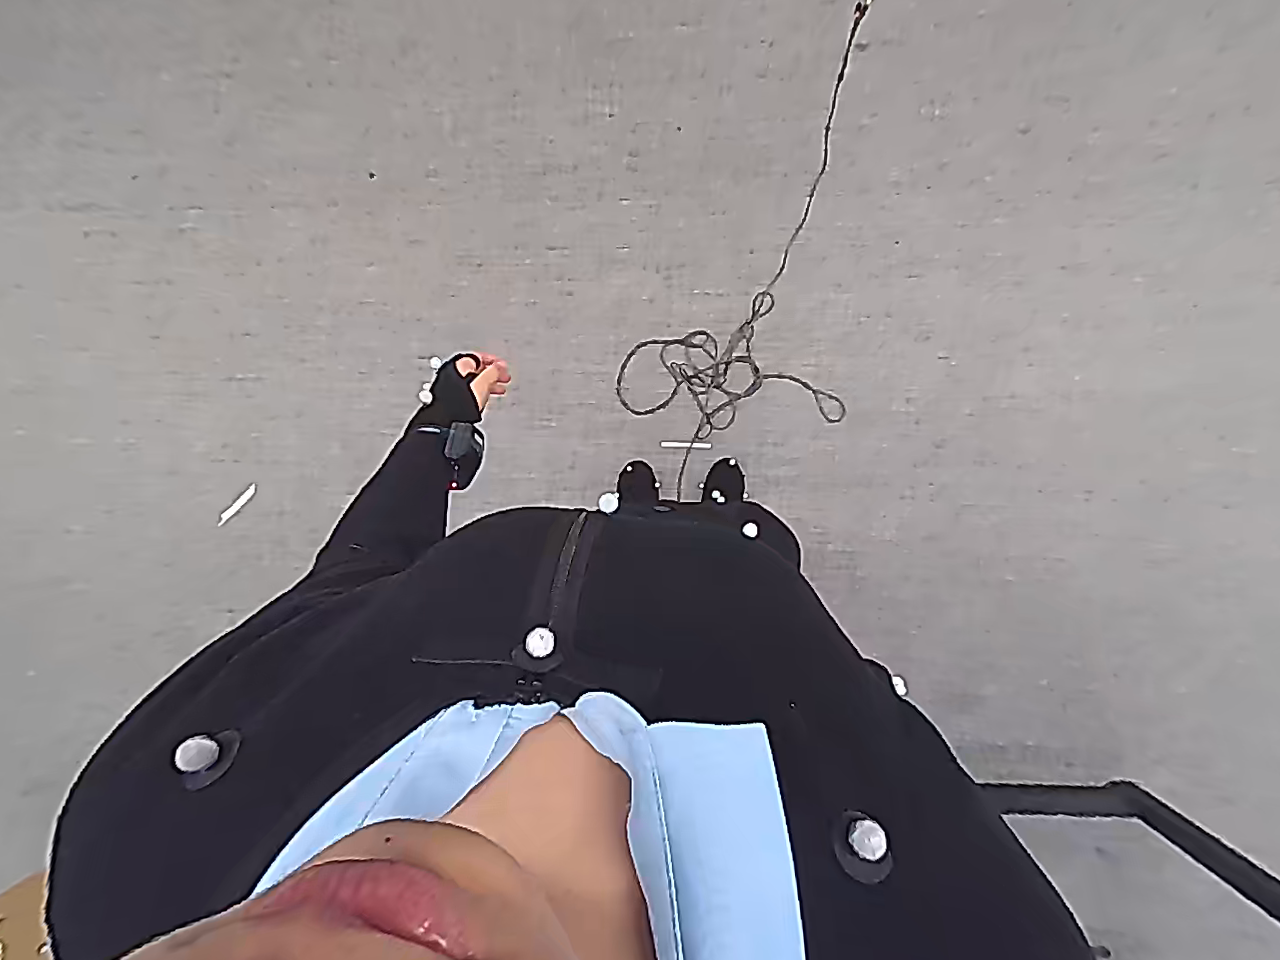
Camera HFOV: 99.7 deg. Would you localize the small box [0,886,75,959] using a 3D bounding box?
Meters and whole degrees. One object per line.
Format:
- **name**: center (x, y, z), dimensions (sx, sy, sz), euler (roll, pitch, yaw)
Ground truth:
- **small box**: center (-1.601, 1.176, 1.370), dimensions (0.179, 0.176, 0.168), euler (5, 90, 5)
